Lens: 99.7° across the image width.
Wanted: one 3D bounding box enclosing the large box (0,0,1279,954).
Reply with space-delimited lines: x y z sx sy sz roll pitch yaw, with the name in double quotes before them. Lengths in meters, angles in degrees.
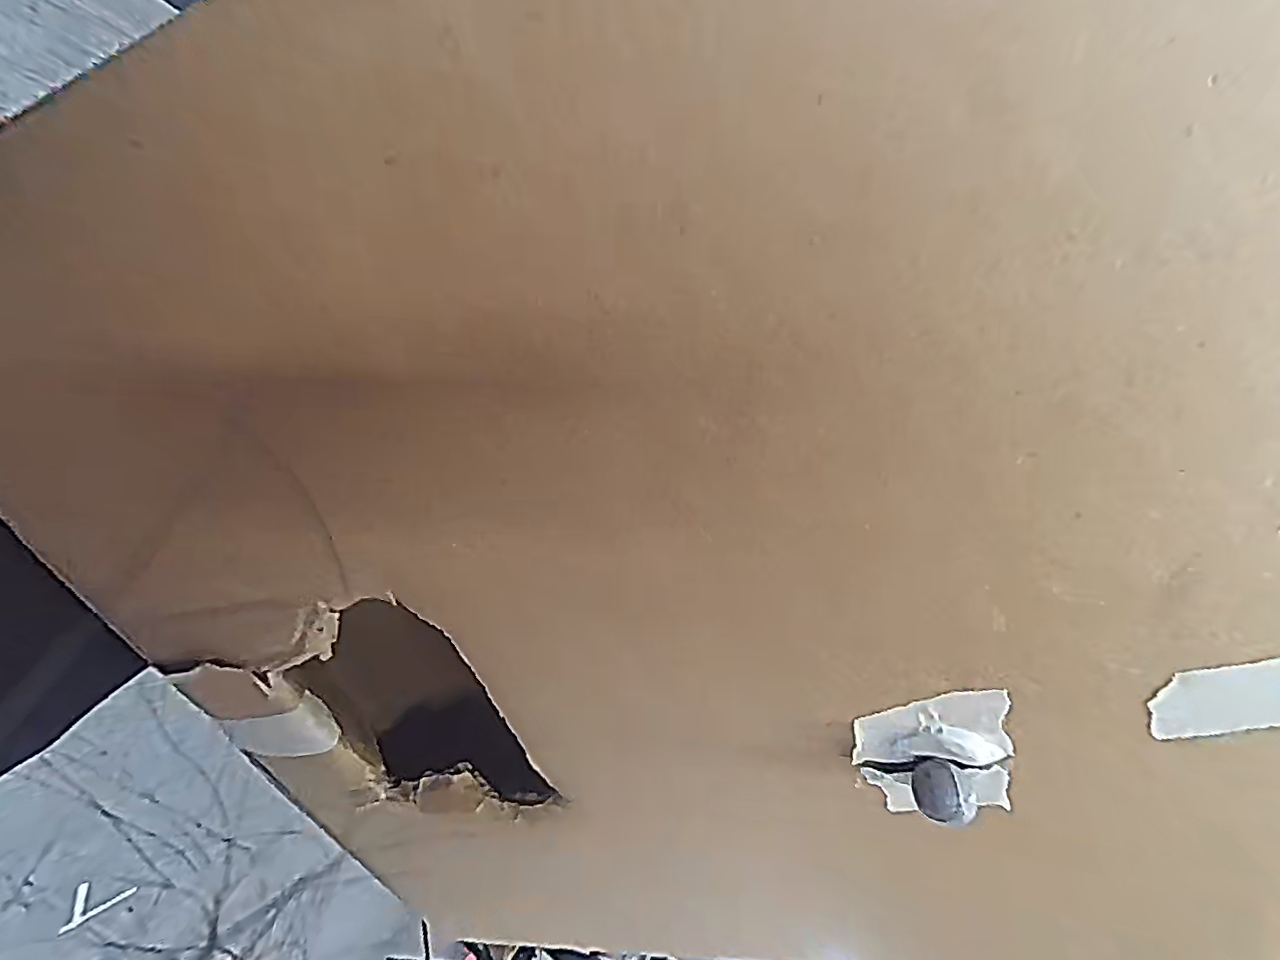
"large box" 0.033 -0.044 0.318 0.408 0.320 0.320 -72 148 -57
